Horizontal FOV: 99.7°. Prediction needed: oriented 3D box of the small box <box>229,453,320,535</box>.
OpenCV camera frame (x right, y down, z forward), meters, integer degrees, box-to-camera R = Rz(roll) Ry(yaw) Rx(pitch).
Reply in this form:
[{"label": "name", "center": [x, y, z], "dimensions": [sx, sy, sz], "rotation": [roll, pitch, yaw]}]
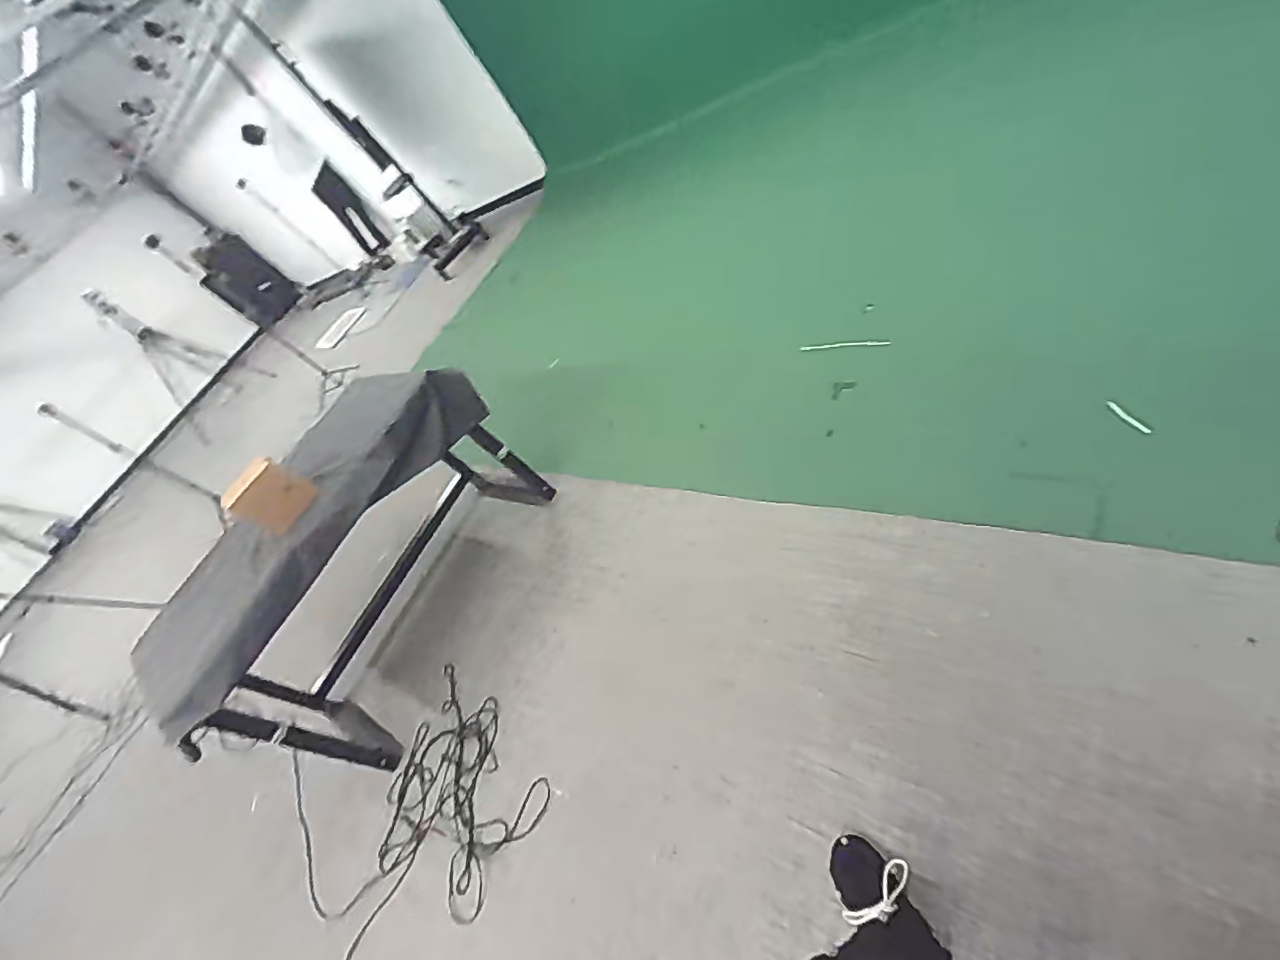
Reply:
[{"label": "small box", "center": [-1.136, 0.042, 1.694], "dimensions": [0.168, 0.176, 0.179], "rotation": [15, 67, 47]}]
